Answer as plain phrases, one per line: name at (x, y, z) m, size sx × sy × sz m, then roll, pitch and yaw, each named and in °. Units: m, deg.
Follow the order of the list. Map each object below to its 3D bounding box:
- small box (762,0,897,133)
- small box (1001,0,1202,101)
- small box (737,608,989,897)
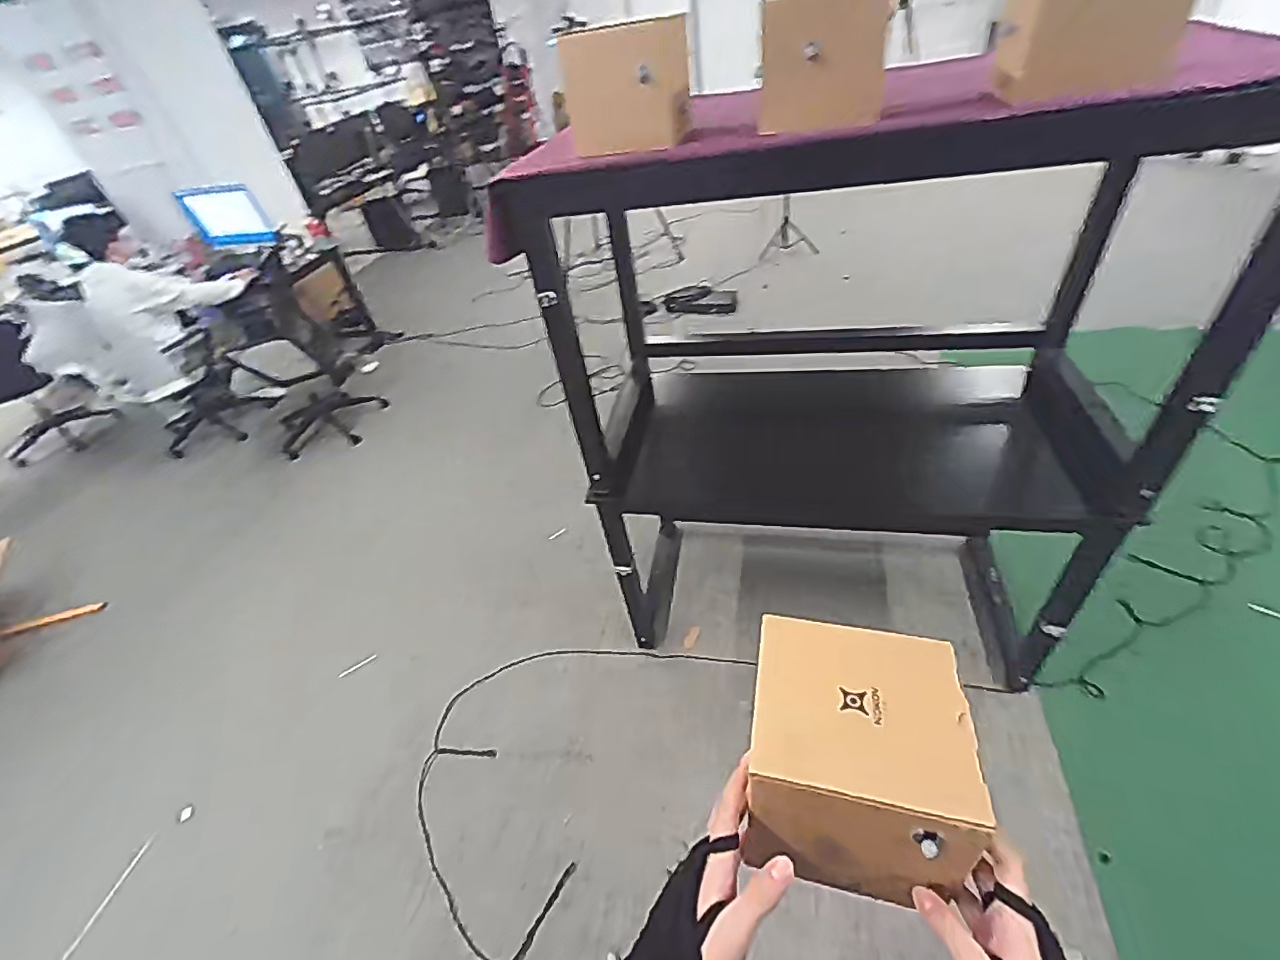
small box at (0.284, -0.642, 0.817) m, size 0.179 × 0.176 × 0.168 m, roll 4°, pitch 42°, yaw 18°
small box at (0.605, -0.623, 0.715) m, size 0.179 × 0.176 × 0.168 m, roll 2°, pitch 43°, yaw 16°
small box at (0.186, 0.246, 0.501) m, size 0.179 × 0.176 × 0.168 m, roll 5°, pitch 36°, yaw 14°
